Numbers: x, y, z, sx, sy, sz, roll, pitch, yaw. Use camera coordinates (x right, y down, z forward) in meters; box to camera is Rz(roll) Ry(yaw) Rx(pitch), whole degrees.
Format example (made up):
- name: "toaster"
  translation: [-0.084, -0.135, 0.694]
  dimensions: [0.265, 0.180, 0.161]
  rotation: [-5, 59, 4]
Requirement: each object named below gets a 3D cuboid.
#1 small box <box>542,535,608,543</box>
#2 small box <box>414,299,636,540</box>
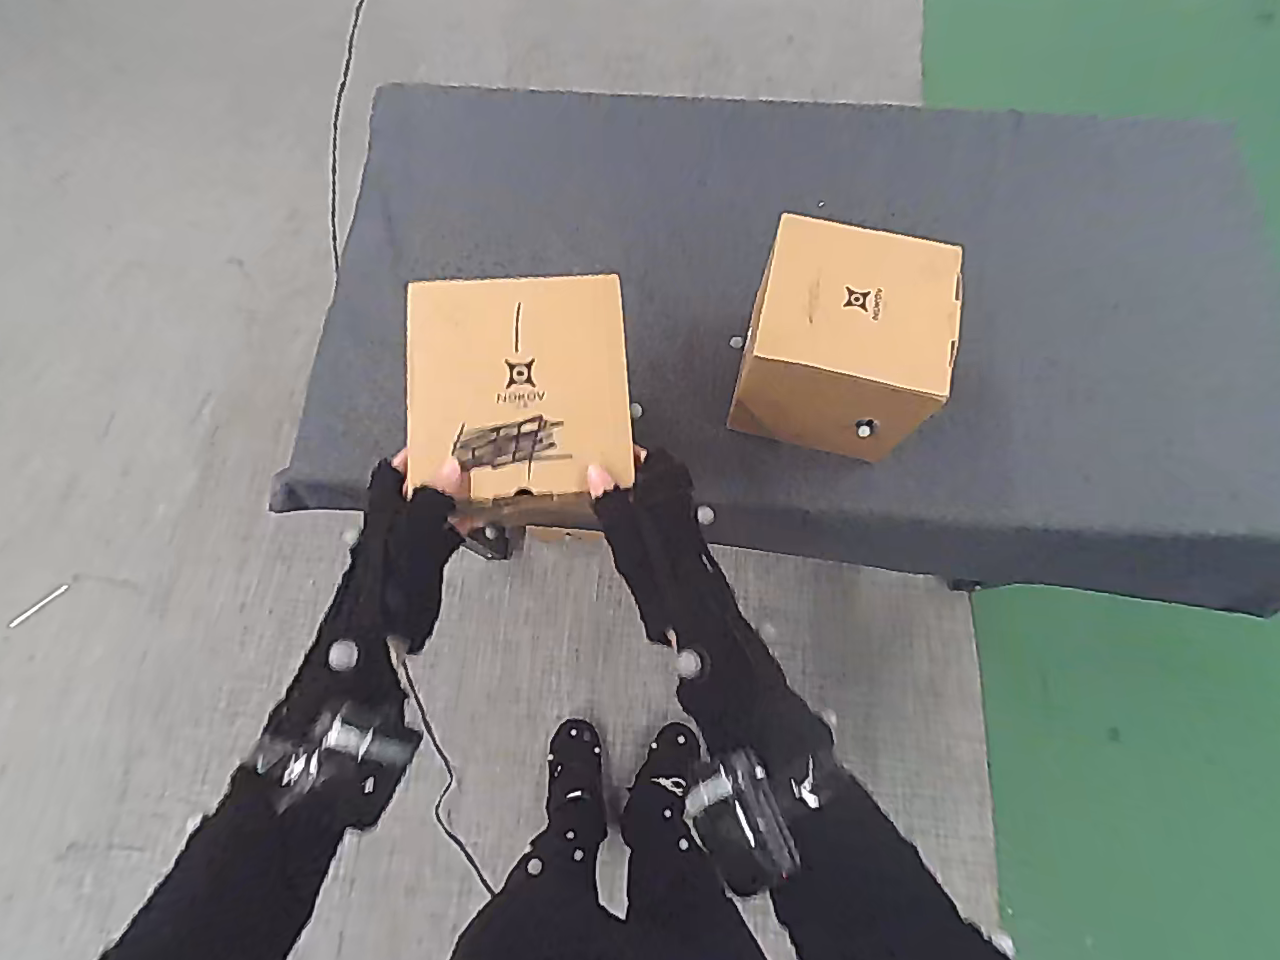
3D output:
- name: "small box"
  translation: [-0.161, 0.054, 1.290]
  dimensions: [0.168, 0.176, 0.179]
  rotation: [-1, 73, 0]
- name: "small box"
  translation: [-0.090, -0.039, 0.486]
  dimensions: [0.168, 0.176, 0.179]
  rotation: [-4, 79, -3]
